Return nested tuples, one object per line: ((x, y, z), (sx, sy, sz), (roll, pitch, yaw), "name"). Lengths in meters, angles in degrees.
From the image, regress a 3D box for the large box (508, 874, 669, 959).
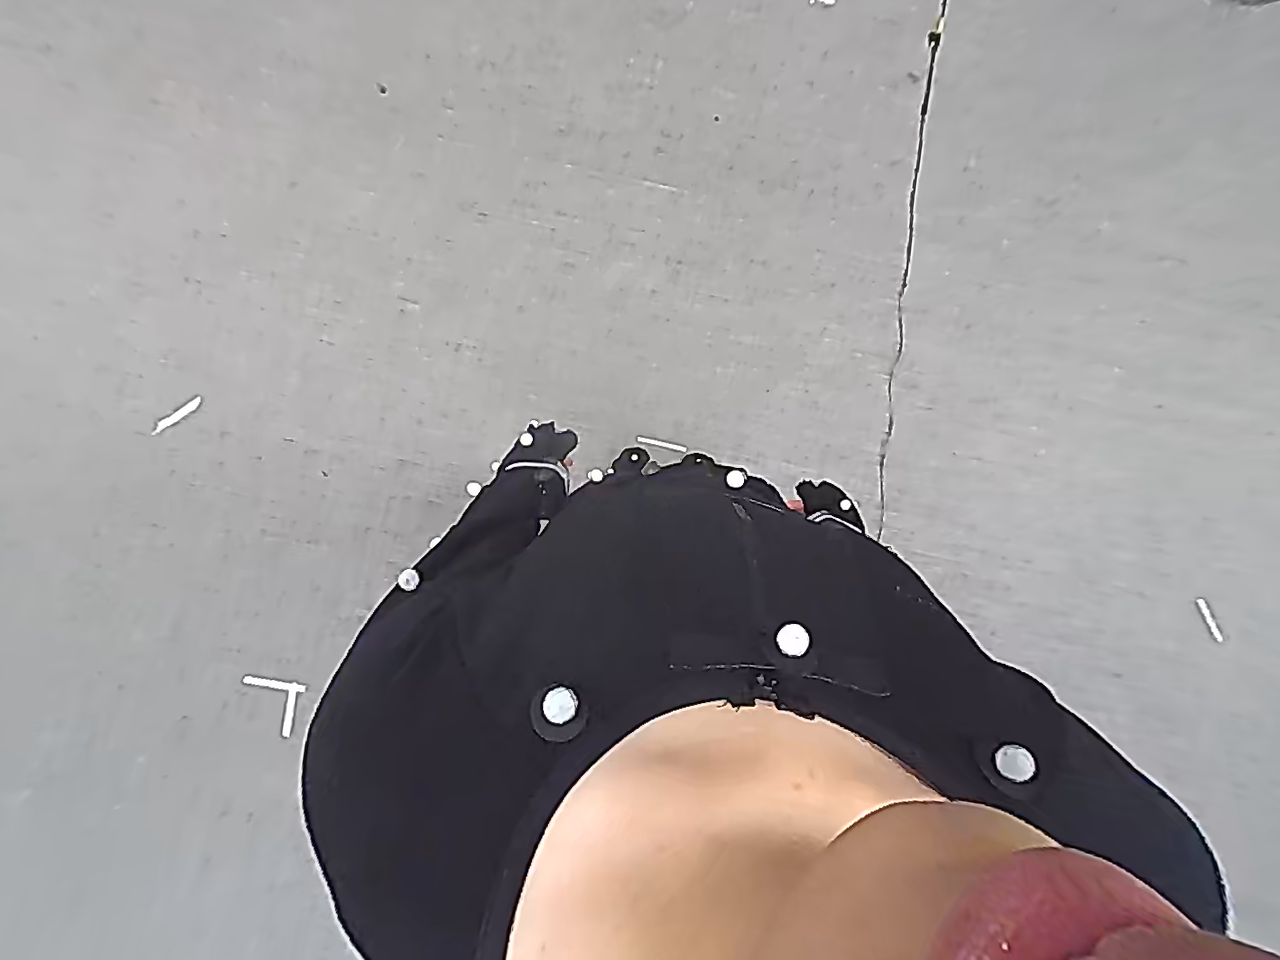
((-0.157, 1.336, 1.425), (0.408, 0.320, 0.320), (17, 93, -2), "large box")
